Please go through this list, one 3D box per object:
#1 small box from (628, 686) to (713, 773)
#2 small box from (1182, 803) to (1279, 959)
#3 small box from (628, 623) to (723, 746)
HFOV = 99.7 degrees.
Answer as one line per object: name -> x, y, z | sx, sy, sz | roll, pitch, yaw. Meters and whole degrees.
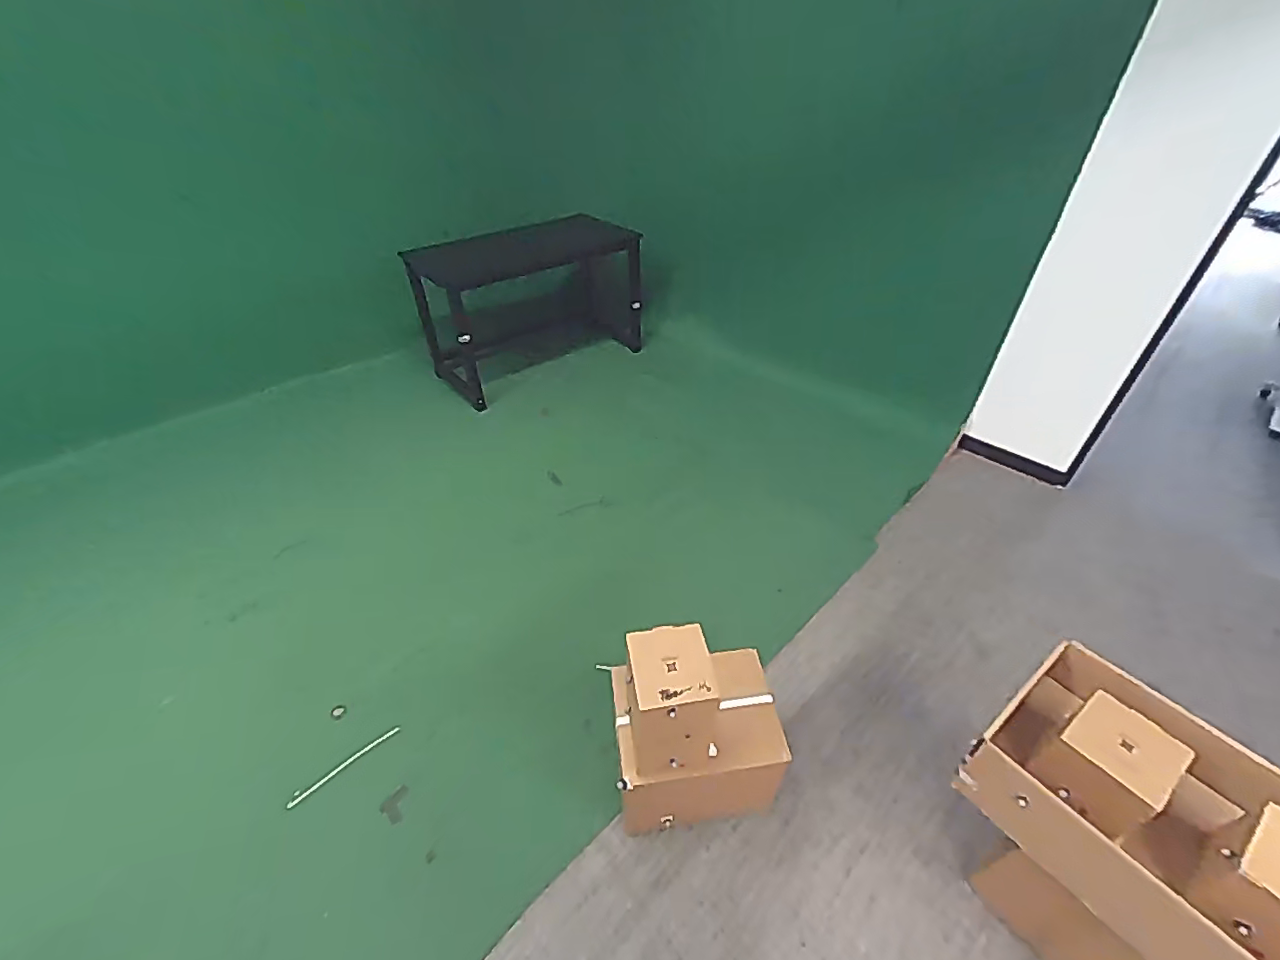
small box -> 0.063, 0.551, 1.260 | 0.168, 0.176, 0.179 | -6, 41, -7
small box -> 1.090, 0.702, 0.918 | 0.179, 0.176, 0.168 | -26, 46, -26
small box -> 0.066, 0.432, 1.147 | 0.168, 0.176, 0.179 | -6, 40, -8
